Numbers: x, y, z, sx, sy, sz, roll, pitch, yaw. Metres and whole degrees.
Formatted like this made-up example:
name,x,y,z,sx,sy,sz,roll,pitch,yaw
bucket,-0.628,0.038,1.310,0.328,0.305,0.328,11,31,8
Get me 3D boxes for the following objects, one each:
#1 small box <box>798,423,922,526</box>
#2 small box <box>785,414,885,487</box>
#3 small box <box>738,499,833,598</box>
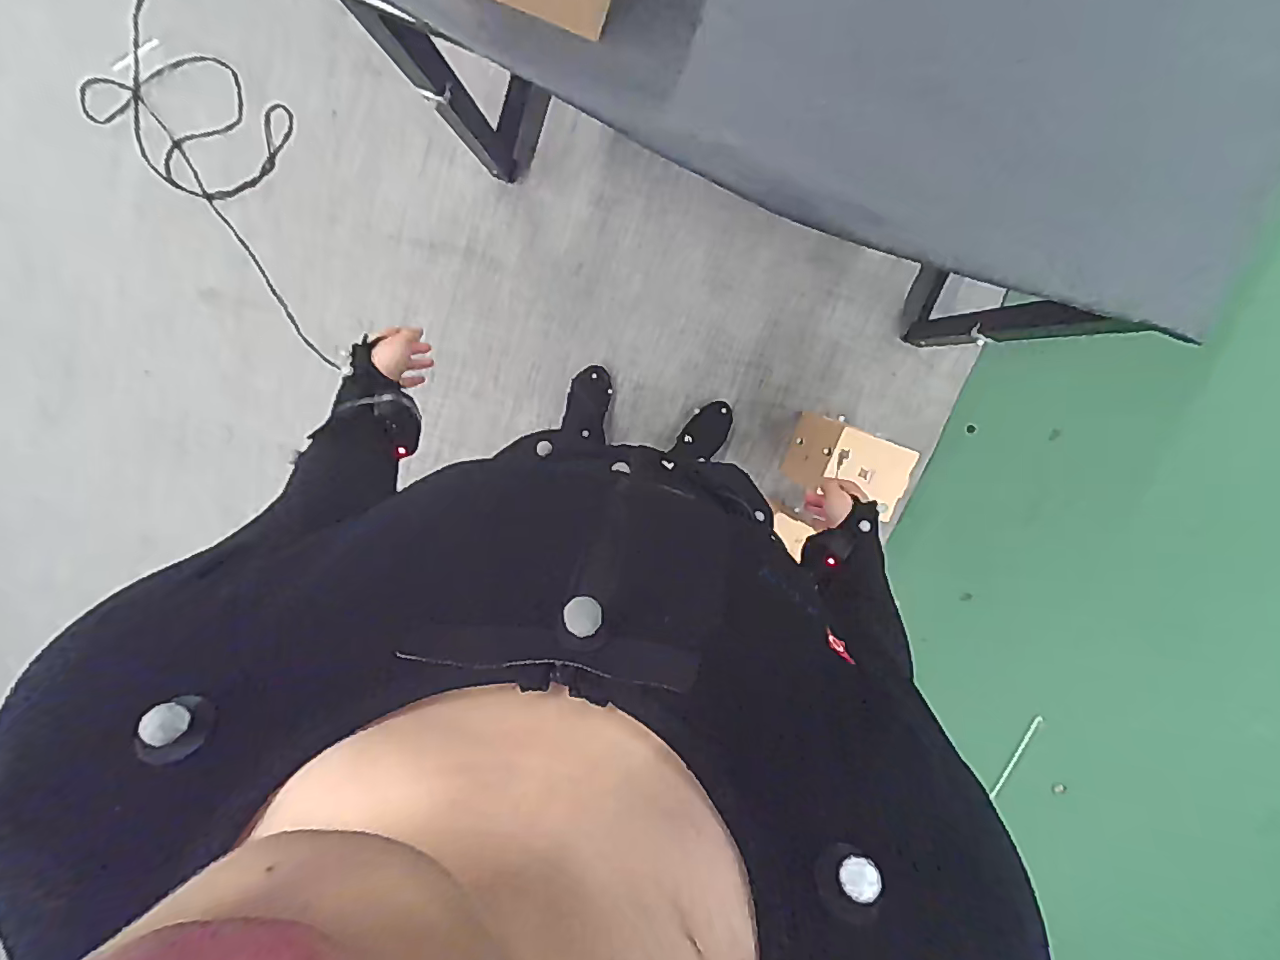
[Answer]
name,x,y,z,sx,sy,sz,roll,pitch,yaw
small box,0.484,-0.021,1.218,0.179,0.176,0.168,21,103,-3
small box,0.486,-0.059,1.379,0.168,0.176,0.179,19,101,-2
small box,0.374,0.175,1.432,0.168,0.176,0.179,29,102,-4
